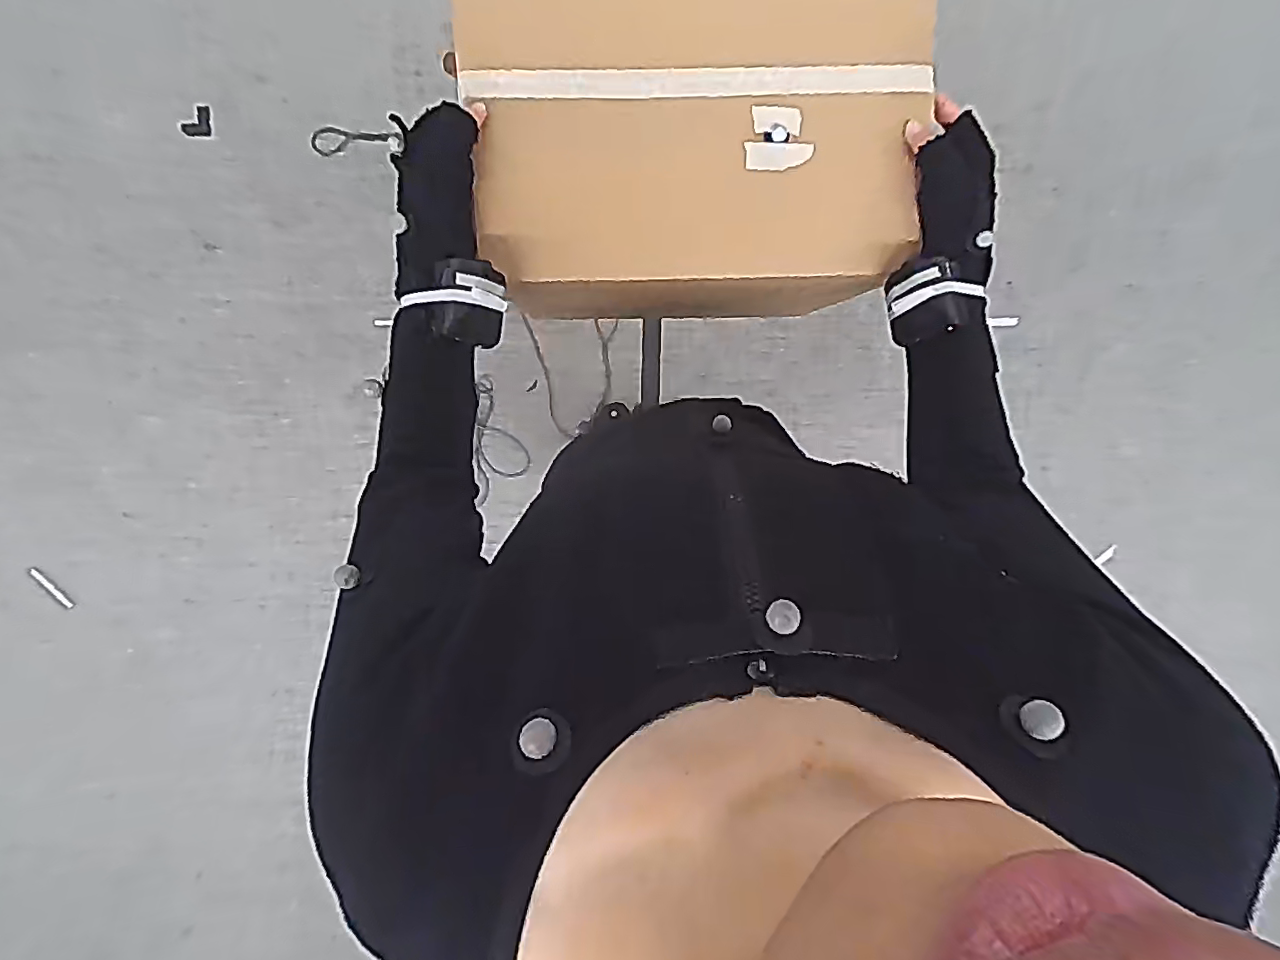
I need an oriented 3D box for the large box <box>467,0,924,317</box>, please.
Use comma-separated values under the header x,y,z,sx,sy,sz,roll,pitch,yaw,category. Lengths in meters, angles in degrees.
x,y,z,sx,sy,sz,roll,pitch,yaw,category
0.045,-0.372,0.627,0.408,0.320,0.320,-2,101,-2,large box
